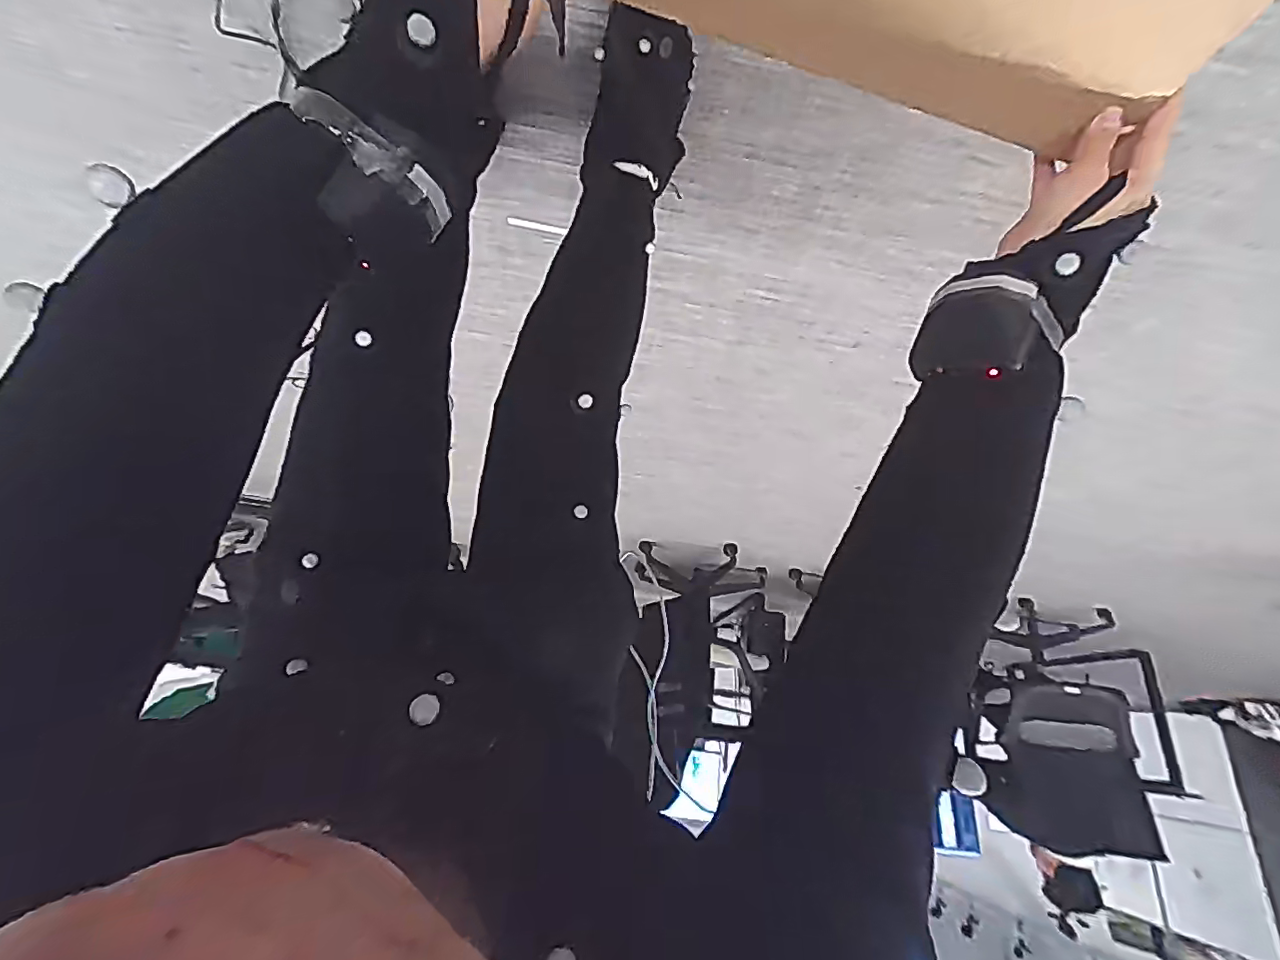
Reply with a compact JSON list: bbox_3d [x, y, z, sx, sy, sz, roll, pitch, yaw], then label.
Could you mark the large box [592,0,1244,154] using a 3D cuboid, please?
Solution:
[{"bbox_3d":[0.173,-0.464,0.292,0.408,0.320,0.320,10,153,-10],"label":"large box"}]
